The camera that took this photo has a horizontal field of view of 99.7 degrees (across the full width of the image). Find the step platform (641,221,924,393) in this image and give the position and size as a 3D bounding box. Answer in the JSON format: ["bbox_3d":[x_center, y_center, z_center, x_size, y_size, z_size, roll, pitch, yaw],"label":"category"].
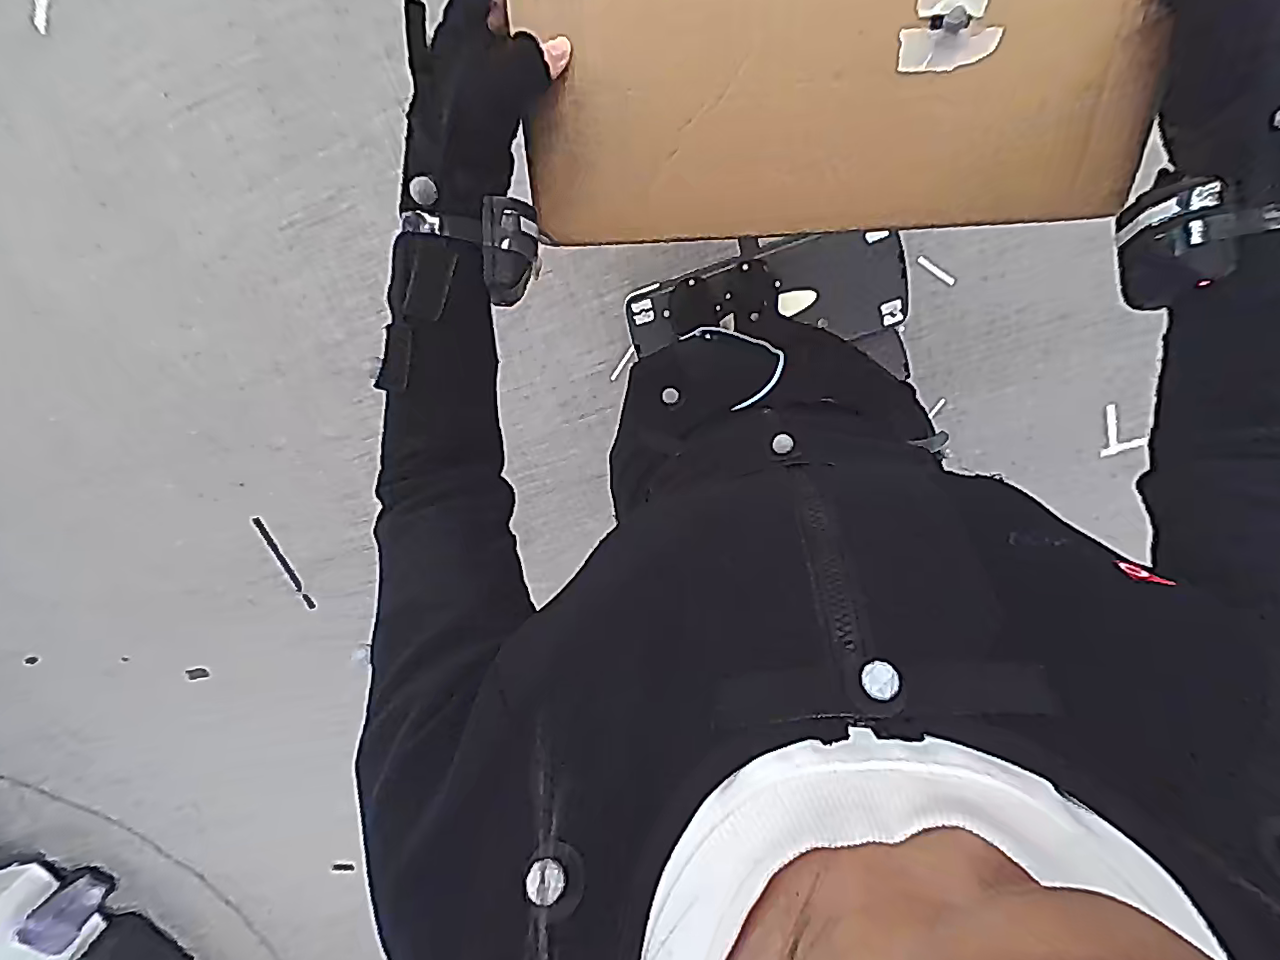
[{"bbox_3d":[0.350,-0.463,1.394,0.684,0.204,0.286,-17,111,12],"label":"step platform"}]

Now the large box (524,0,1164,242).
[{"bbox_3d":[0.128,-0.392,0.460,0.408,0.320,0.320,-1,118,4],"label":"large box"}]
